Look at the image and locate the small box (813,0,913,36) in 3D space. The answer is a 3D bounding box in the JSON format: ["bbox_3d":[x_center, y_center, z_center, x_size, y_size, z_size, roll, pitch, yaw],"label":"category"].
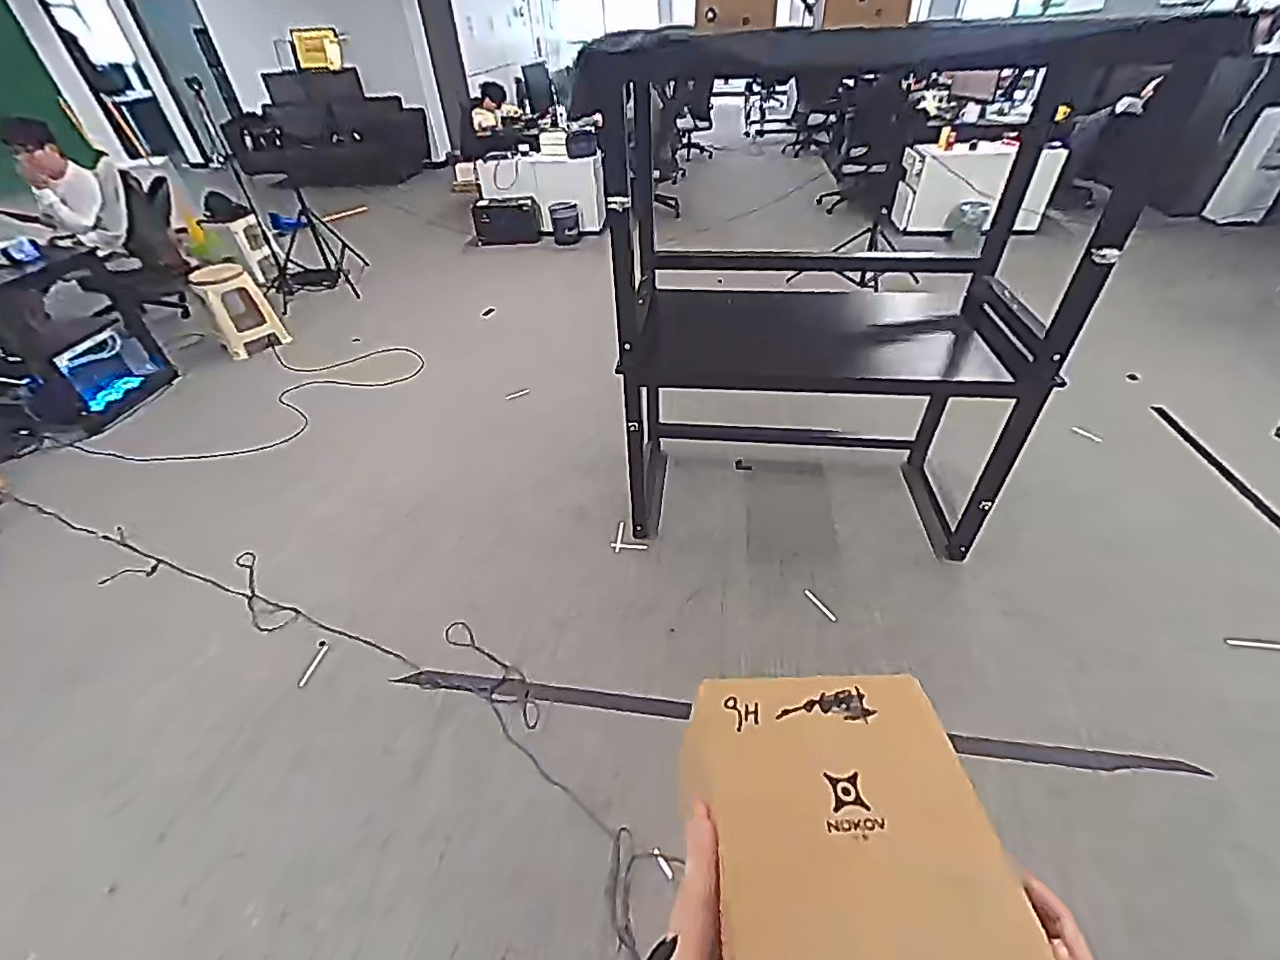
[{"bbox_3d":[0.450,-0.999,1.079,0.168,0.176,0.179,3,39,7],"label":"small box"}]

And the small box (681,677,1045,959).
[{"bbox_3d":[0.123,0.262,0.380,0.168,0.176,0.179,0,40,-3],"label":"small box"}]

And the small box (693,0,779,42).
[{"bbox_3d":[0.196,-1.008,1.101,0.168,0.176,0.179,2,38,4],"label":"small box"}]
